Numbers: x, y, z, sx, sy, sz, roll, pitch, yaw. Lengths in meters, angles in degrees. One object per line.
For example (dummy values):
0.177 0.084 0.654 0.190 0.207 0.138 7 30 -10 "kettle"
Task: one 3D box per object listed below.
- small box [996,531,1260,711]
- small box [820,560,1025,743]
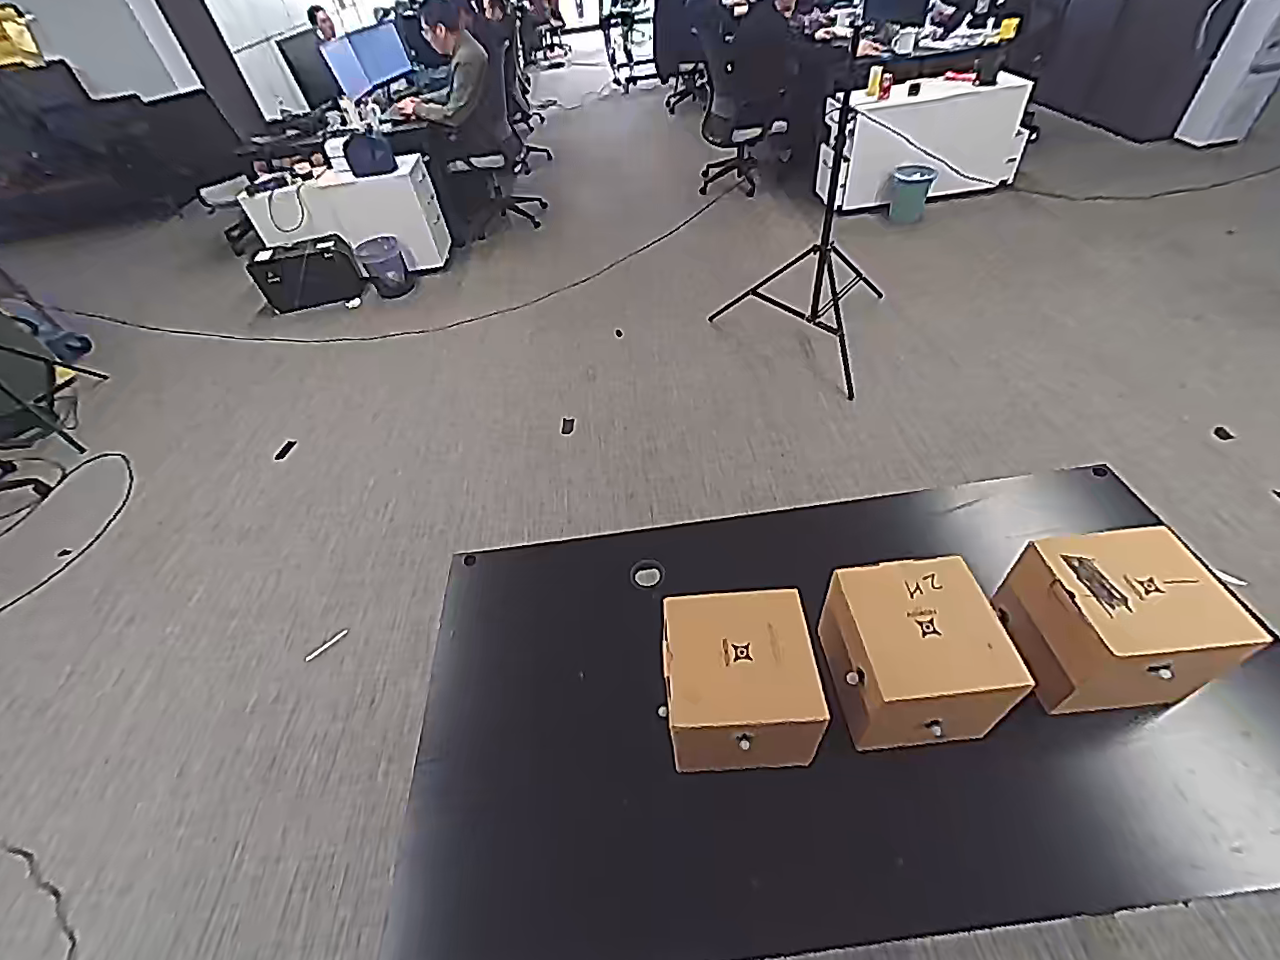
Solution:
0.608 0.189 0.713 0.179 0.176 0.168 -6 46 2 "small box"
0.350 0.231 0.712 0.168 0.176 0.179 -6 46 2 "small box"
